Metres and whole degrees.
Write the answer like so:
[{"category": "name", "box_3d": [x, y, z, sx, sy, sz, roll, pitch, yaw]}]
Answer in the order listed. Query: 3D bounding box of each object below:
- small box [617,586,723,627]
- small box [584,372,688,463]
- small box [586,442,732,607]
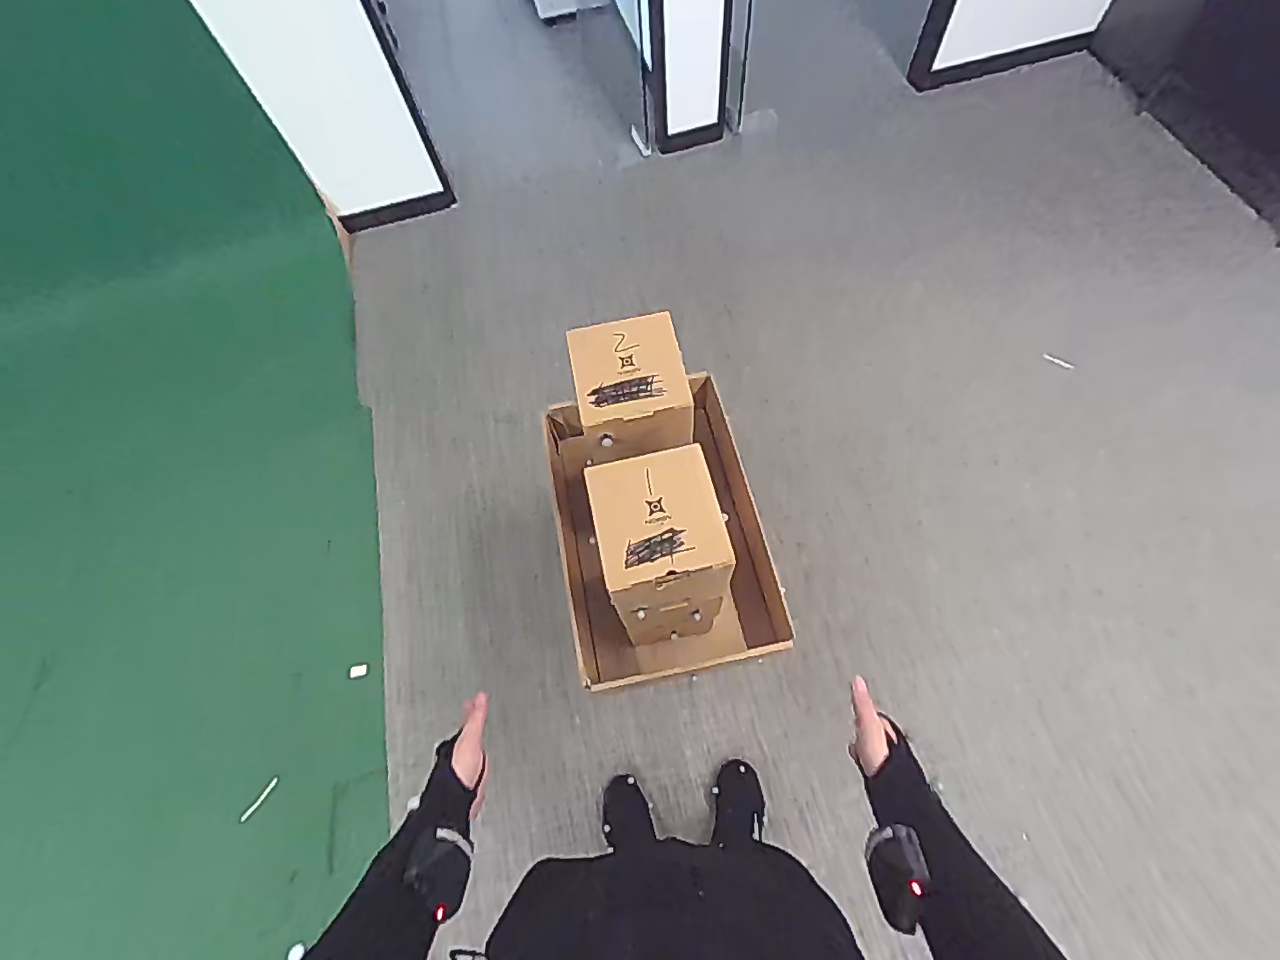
[{"category": "small box", "box_3d": [0.039, 0.144, 0.923, 0.168, 0.176, 0.179, -11, 64, -2]}, {"category": "small box", "box_3d": [-0.006, -0.075, 1.031, 0.168, 0.176, 0.179, -12, 67, -2]}, {"category": "small box", "box_3d": [0.027, 0.074, 0.775, 0.168, 0.176, 0.179, -12, 64, -2]}]
